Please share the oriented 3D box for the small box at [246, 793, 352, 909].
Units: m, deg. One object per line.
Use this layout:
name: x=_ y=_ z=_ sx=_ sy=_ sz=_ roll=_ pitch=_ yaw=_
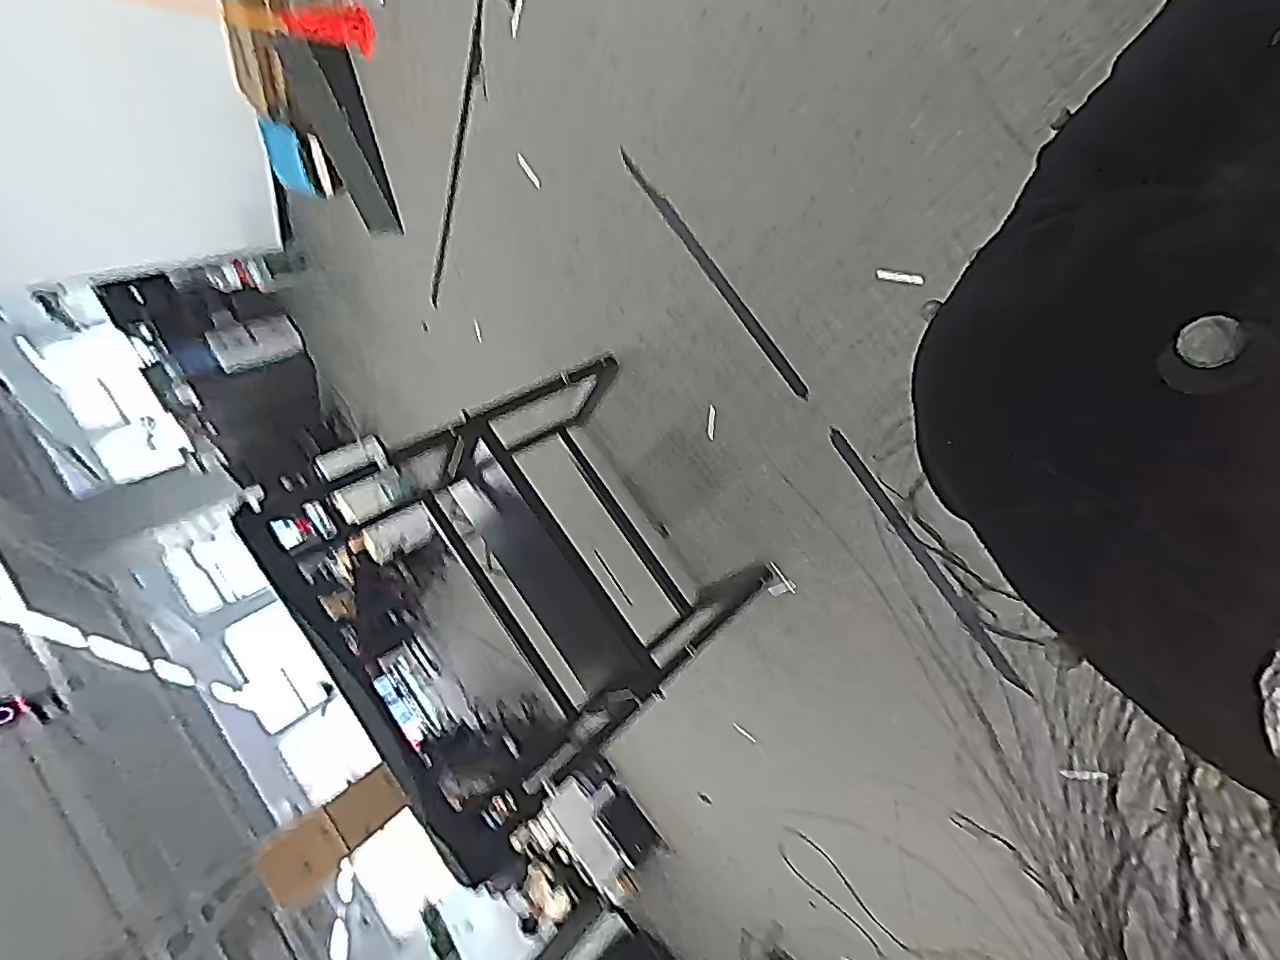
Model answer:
small box: x=-0.863 y=0.937 z=1.388 sx=0.168 sy=0.176 sz=0.179 roll=55 pitch=147 yaw=5
